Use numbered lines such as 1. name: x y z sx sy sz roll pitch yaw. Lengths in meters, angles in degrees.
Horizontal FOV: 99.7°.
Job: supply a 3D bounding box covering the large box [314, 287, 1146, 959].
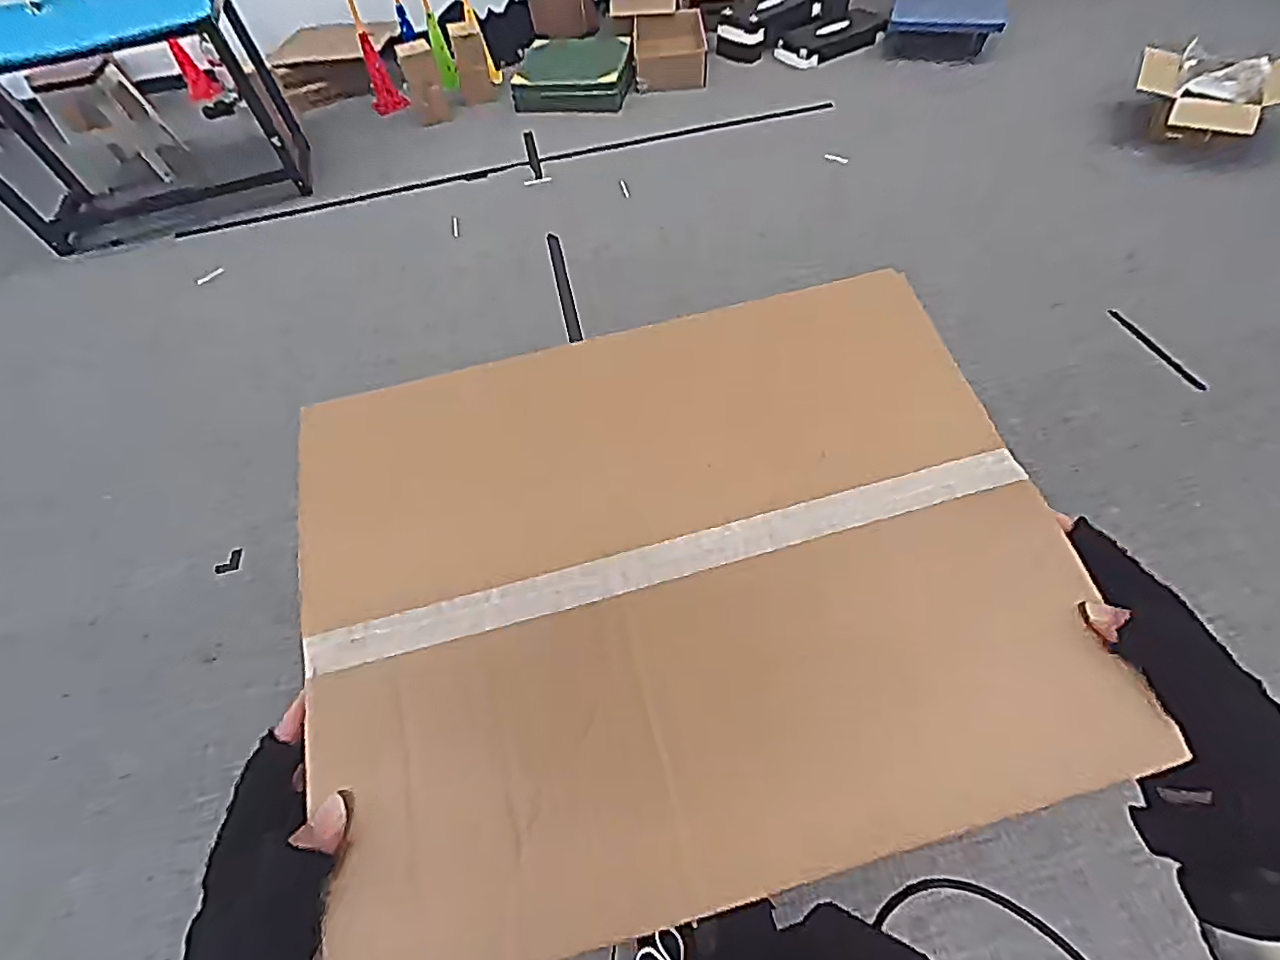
1. large box: 0.028 0.107 0.442 0.408 0.320 0.320 -15 67 -4
